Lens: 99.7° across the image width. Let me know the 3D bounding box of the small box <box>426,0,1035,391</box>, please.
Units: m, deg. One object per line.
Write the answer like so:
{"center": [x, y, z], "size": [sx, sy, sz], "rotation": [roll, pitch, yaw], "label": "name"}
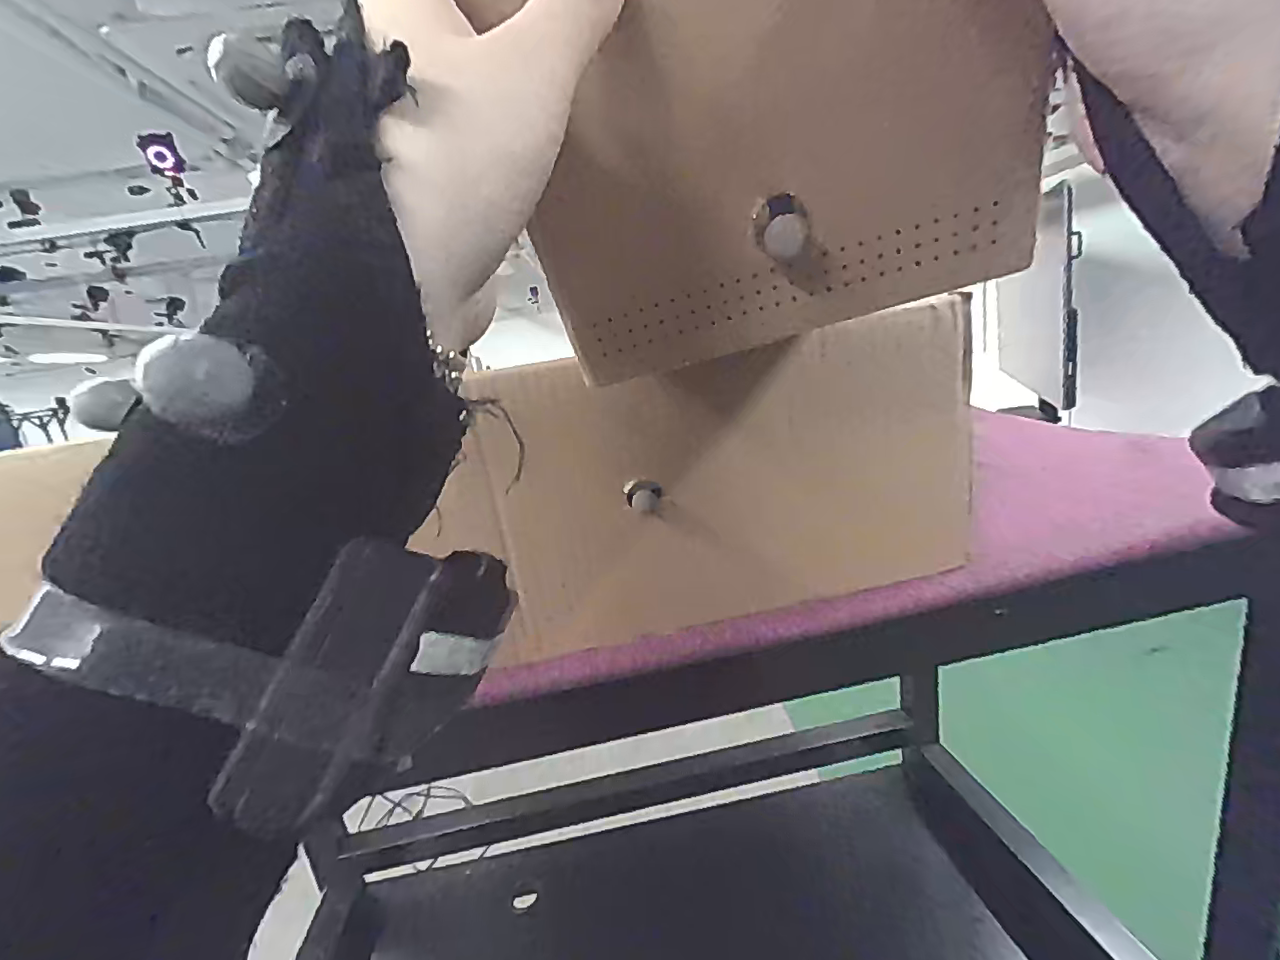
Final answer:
{"center": [0.038, -0.161, 0.235], "size": [0.179, 0.176, 0.168], "rotation": [-13, 32, 11], "label": "small box"}
